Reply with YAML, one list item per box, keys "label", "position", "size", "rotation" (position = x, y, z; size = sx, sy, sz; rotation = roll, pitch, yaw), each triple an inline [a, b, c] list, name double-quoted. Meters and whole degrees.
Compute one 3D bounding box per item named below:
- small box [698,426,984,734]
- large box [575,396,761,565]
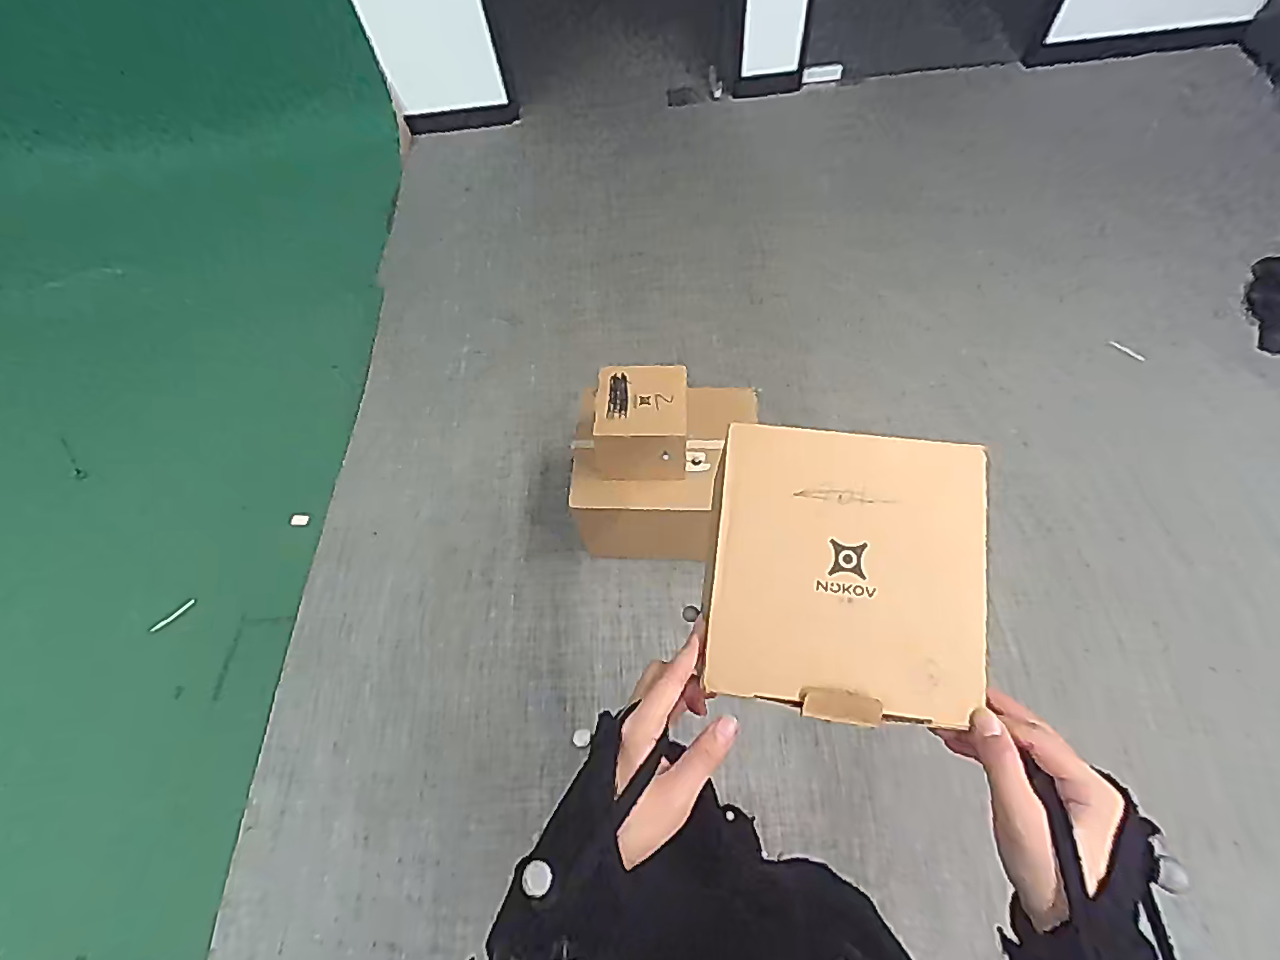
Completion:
- label: "small box"
  position: [0.134, 0.074, 0.415]
  size: [0.168, 0.176, 0.179]
  rotation: [6, 76, 5]
- label: "large box"
  position: [0.074, 0.012, 1.310]
  size: [0.408, 0.320, 0.320]
  rotation: [1, 62, 5]
